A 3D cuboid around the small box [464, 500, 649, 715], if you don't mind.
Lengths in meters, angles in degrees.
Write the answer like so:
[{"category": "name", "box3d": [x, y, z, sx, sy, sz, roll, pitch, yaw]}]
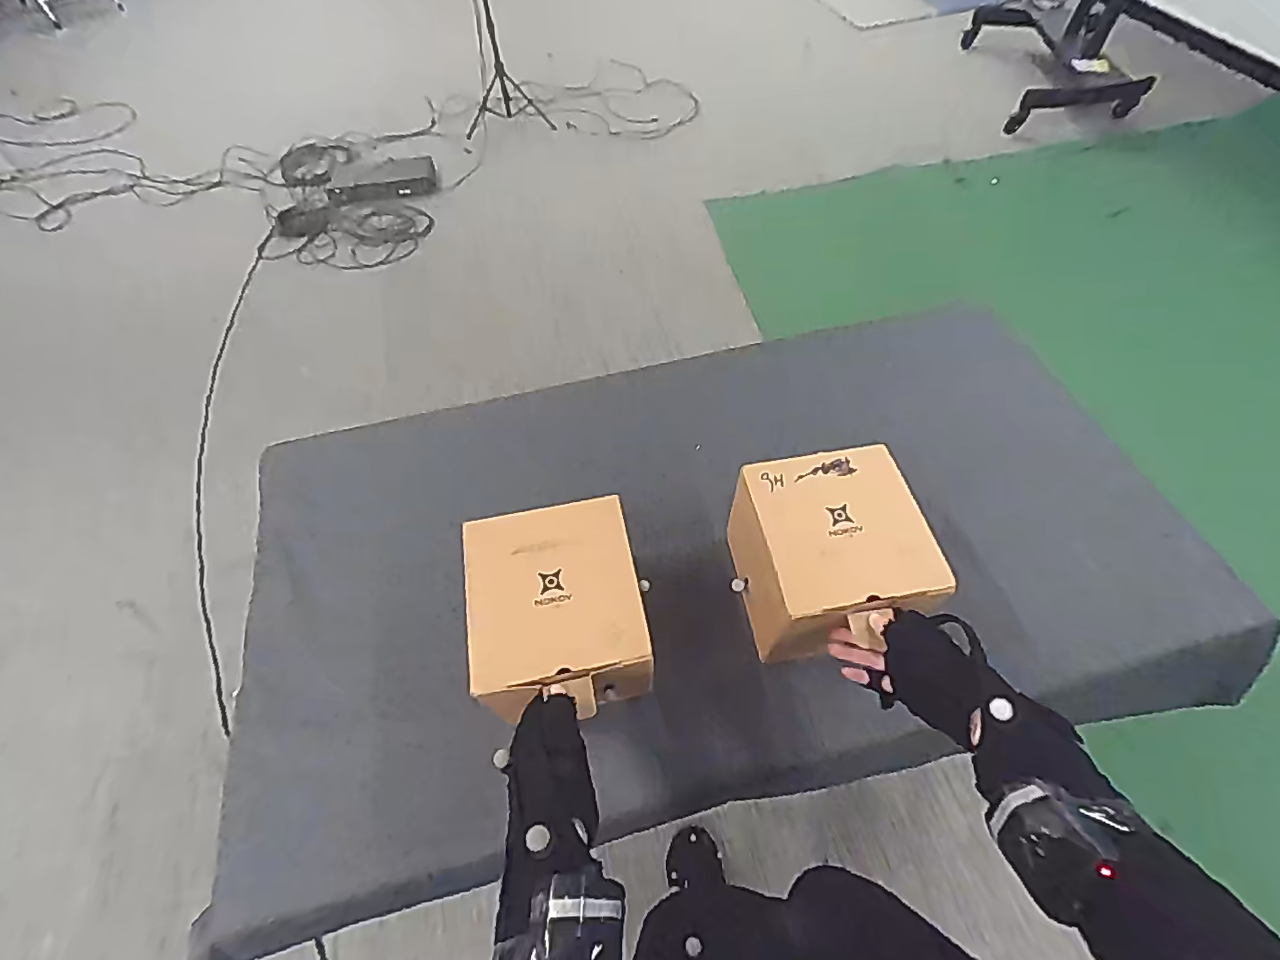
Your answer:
[{"category": "small box", "box3d": [-0.087, 0.150, 0.602, 0.168, 0.176, 0.179, -11, 58, -7]}]
